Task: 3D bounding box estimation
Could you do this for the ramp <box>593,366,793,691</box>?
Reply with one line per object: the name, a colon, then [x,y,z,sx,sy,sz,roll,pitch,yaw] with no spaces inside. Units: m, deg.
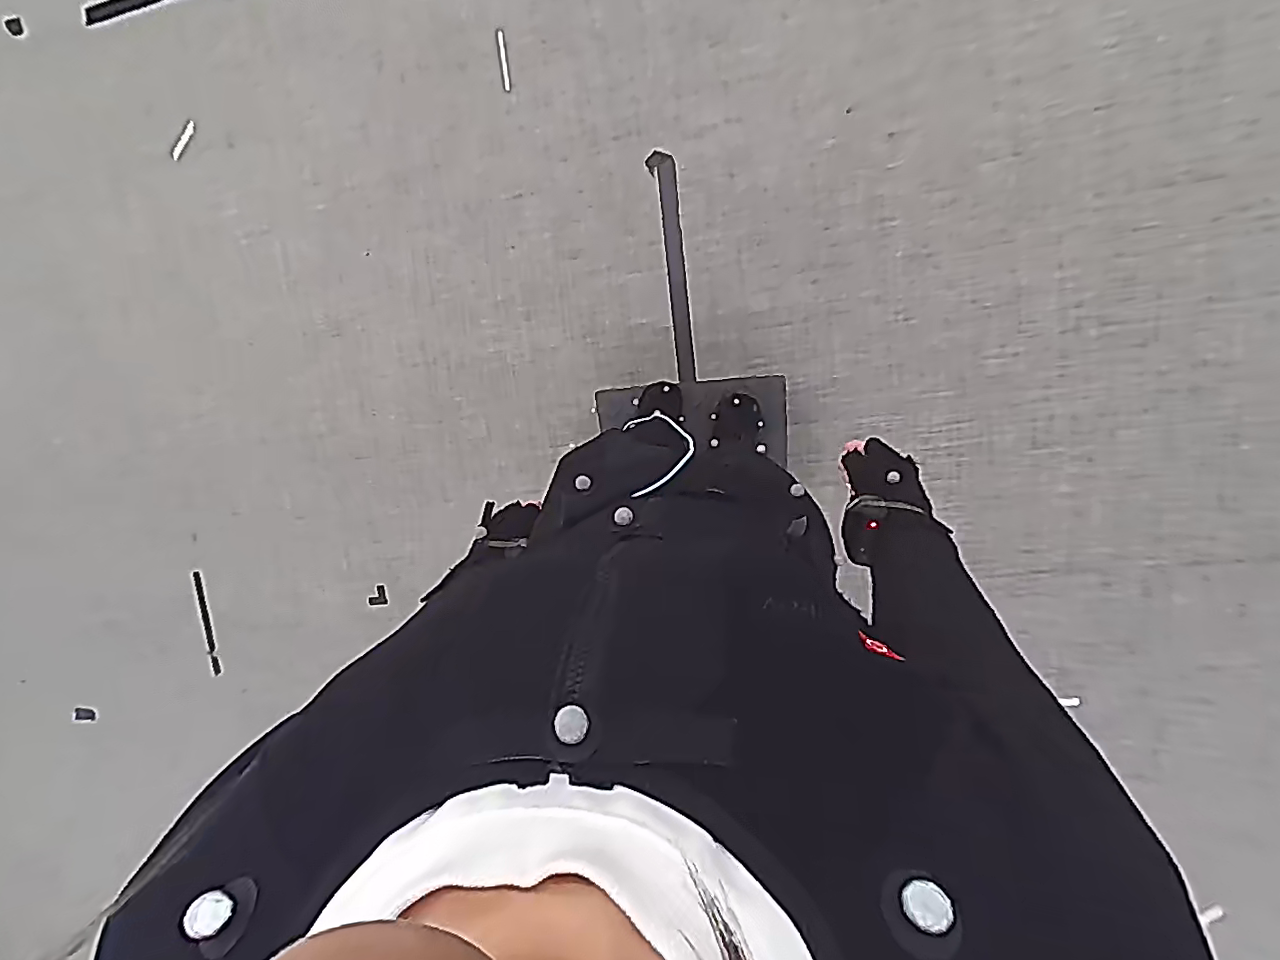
ramp: [0.176,0.197,1.539,0.509,0.206,0.991,-5,99,10]
